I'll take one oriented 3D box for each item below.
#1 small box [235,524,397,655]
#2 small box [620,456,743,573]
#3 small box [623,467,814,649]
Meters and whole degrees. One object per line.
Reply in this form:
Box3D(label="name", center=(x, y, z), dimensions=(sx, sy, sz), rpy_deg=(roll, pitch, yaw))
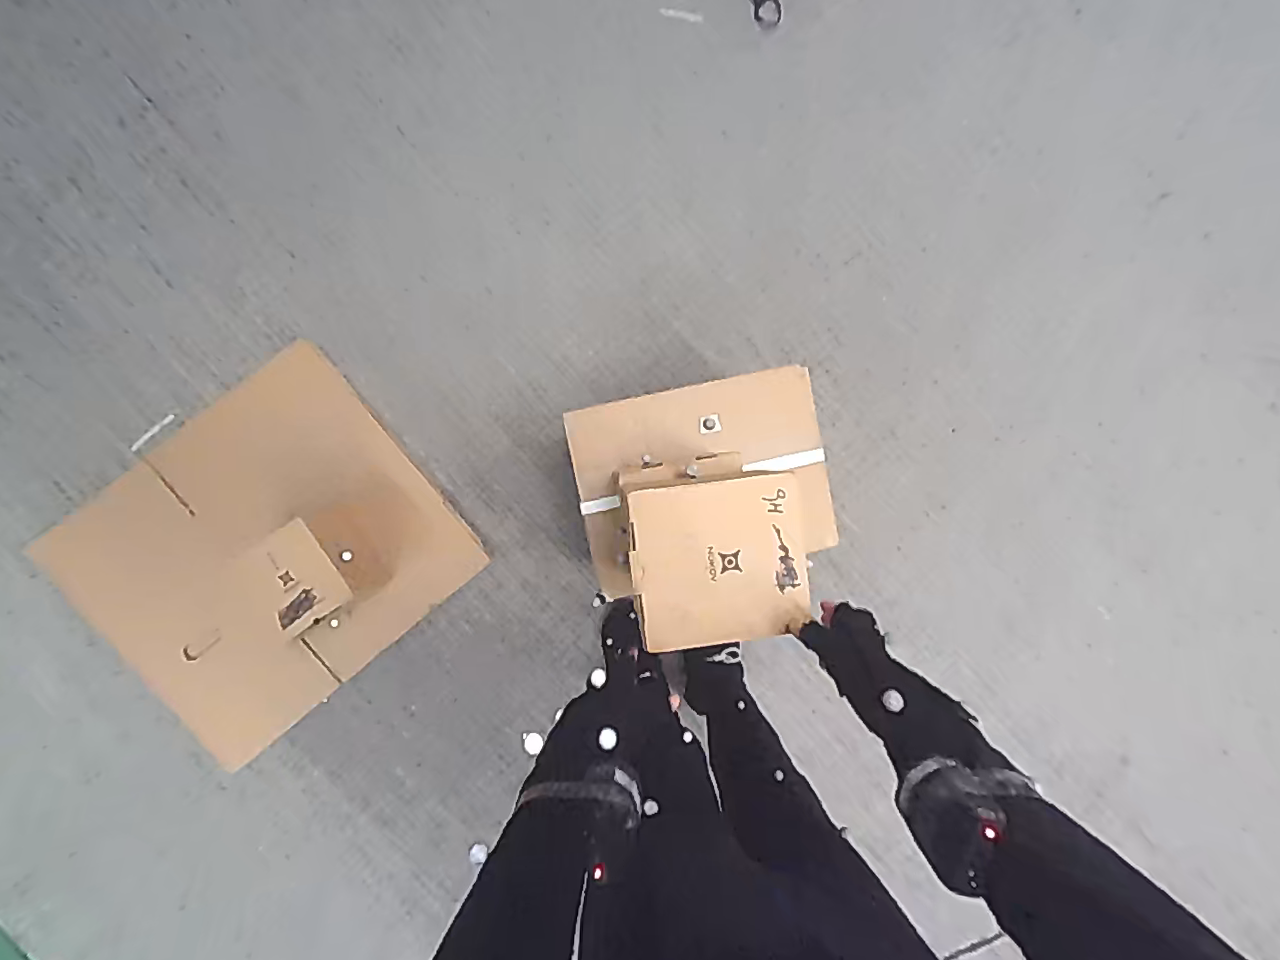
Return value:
Box3D(label="small box", center=(-0.609, 0.199, 1.042), dimensions=(0.168, 0.176, 0.179), rpy_deg=(-35, 90, -3))
Box3D(label="small box", center=(0.064, 0.066, 0.793), dimensions=(0.168, 0.176, 0.179), rpy_deg=(-10, 92, -2))
Box3D(label="small box", center=(0.078, 0.082, 0.633), dimensions=(0.179, 0.176, 0.168), rpy_deg=(-10, 89, -3))
